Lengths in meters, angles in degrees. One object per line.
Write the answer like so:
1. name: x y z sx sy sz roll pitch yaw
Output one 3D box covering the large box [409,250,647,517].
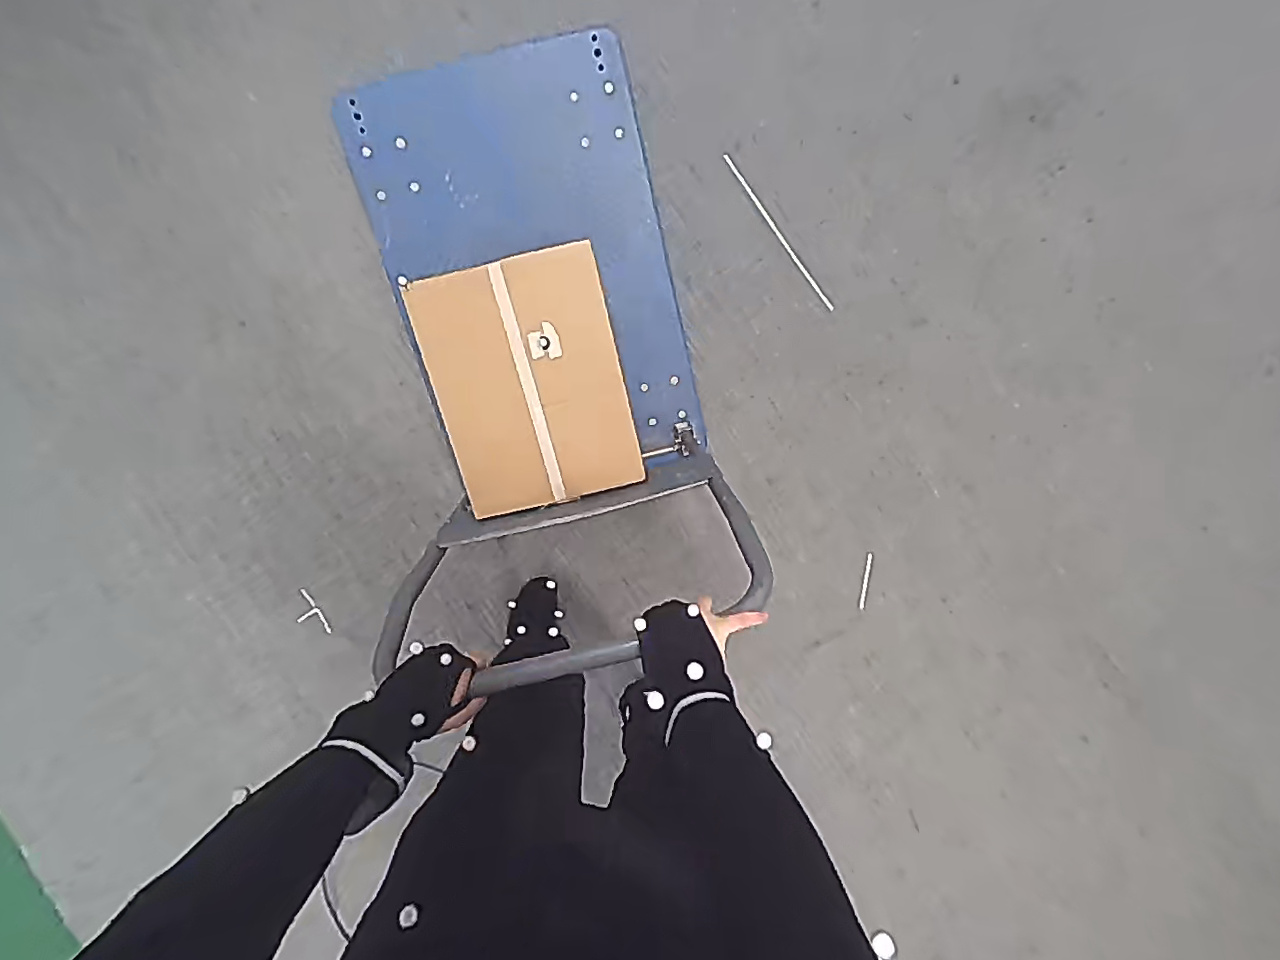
1. large box: -0.187 -0.187 1.073 0.320 0.320 0.408 -14 104 1
